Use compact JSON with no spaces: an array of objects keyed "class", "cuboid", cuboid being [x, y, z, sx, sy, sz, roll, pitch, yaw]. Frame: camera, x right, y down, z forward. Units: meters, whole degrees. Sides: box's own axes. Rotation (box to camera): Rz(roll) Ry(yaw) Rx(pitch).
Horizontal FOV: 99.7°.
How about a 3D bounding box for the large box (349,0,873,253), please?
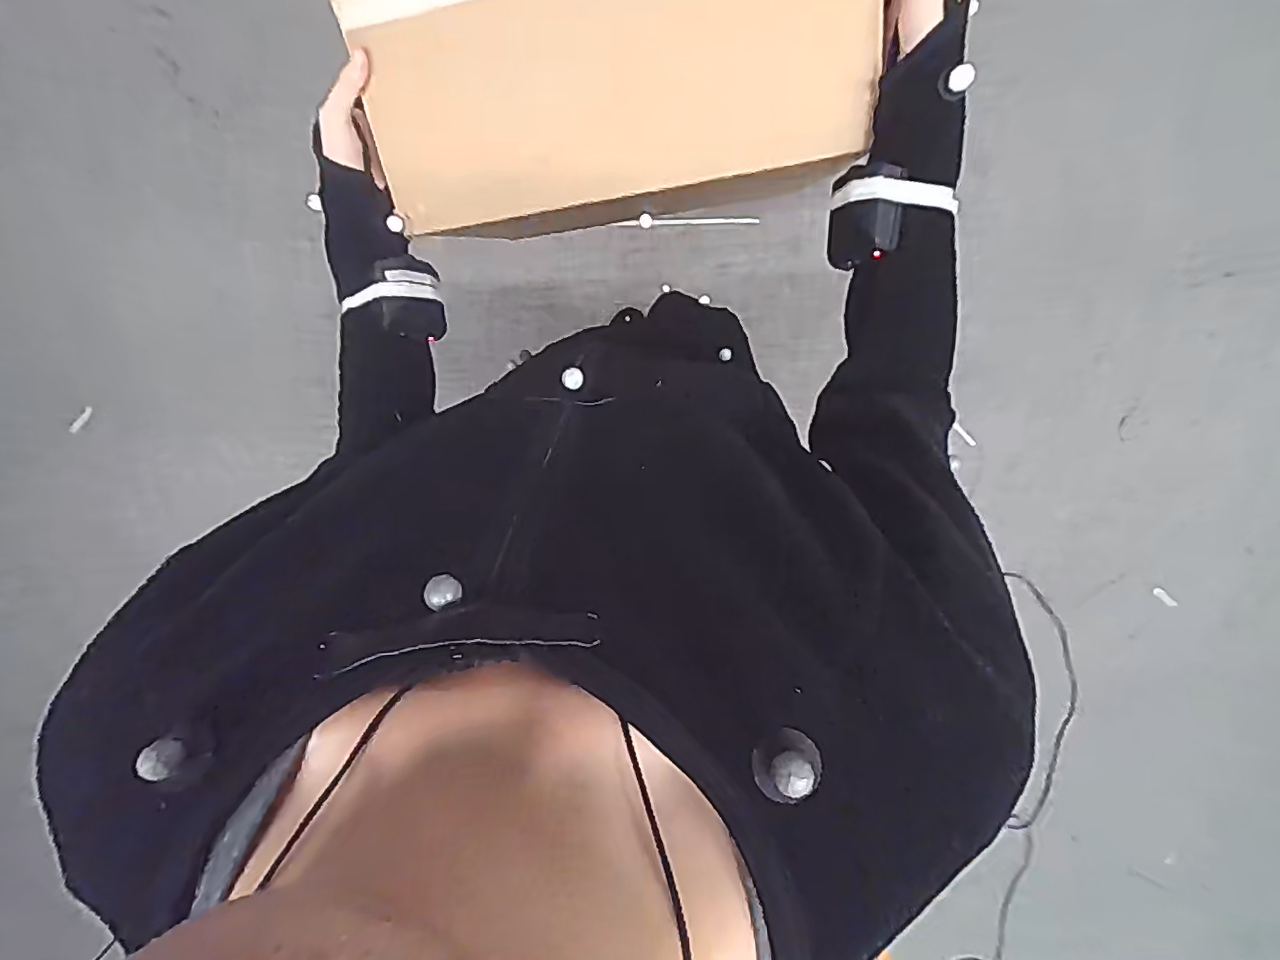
[{"class":"large box","cuboid":[-0.017,-0.432,0.551,0.408,0.320,0.320,-7,110,9]}]
